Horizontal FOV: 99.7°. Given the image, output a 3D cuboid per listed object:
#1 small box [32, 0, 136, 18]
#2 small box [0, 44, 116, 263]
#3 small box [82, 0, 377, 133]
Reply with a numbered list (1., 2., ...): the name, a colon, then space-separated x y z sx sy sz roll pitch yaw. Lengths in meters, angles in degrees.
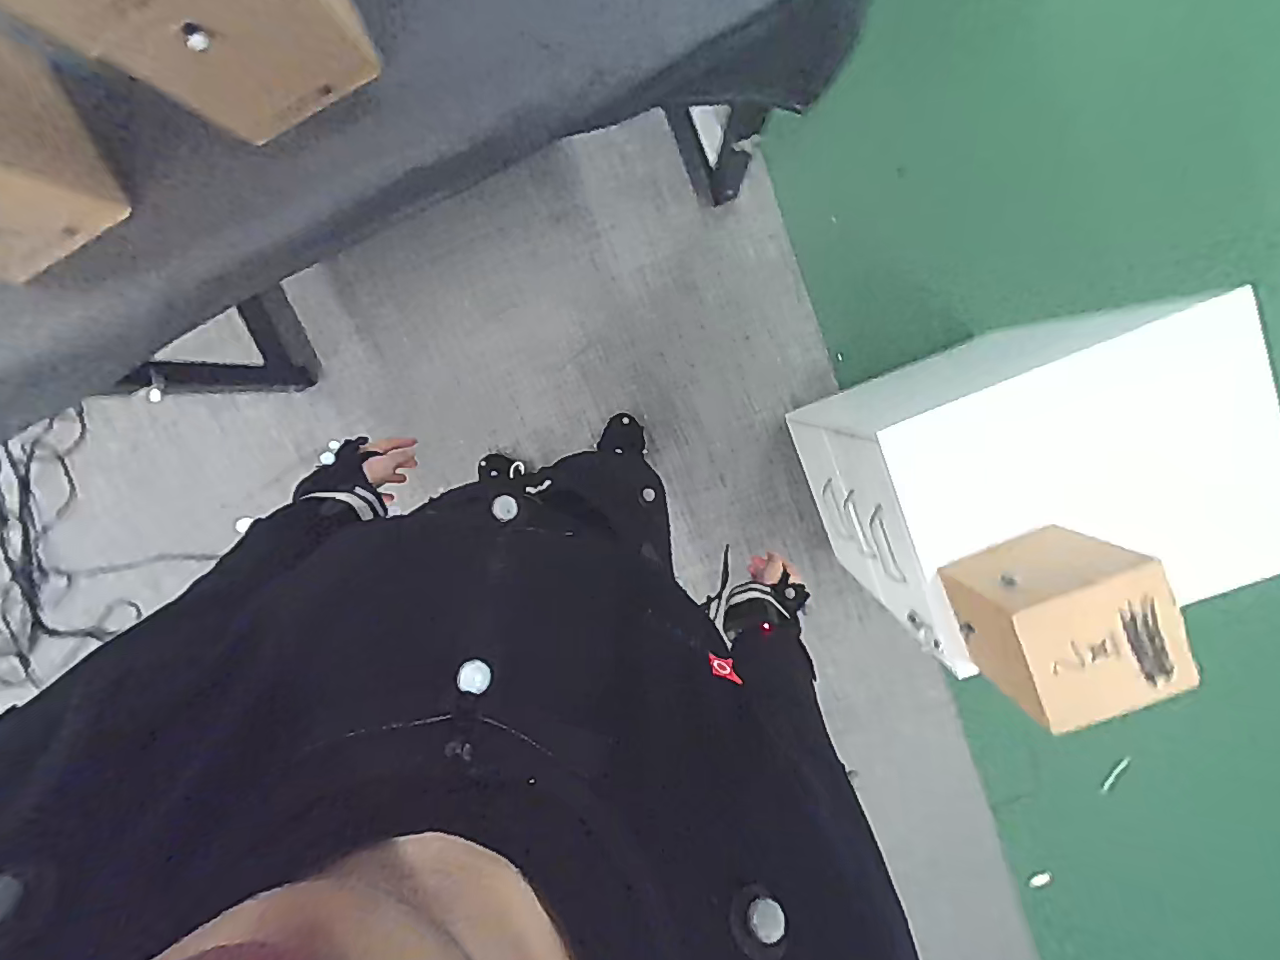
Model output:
1. small box: -0.385 -0.427 0.314 0.168 0.176 0.179 -25 98 4
2. small box: -0.670 -0.325 0.505 0.168 0.176 0.179 -27 98 5
3. small box: -0.377 -0.459 0.476 0.168 0.176 0.179 -25 98 5
